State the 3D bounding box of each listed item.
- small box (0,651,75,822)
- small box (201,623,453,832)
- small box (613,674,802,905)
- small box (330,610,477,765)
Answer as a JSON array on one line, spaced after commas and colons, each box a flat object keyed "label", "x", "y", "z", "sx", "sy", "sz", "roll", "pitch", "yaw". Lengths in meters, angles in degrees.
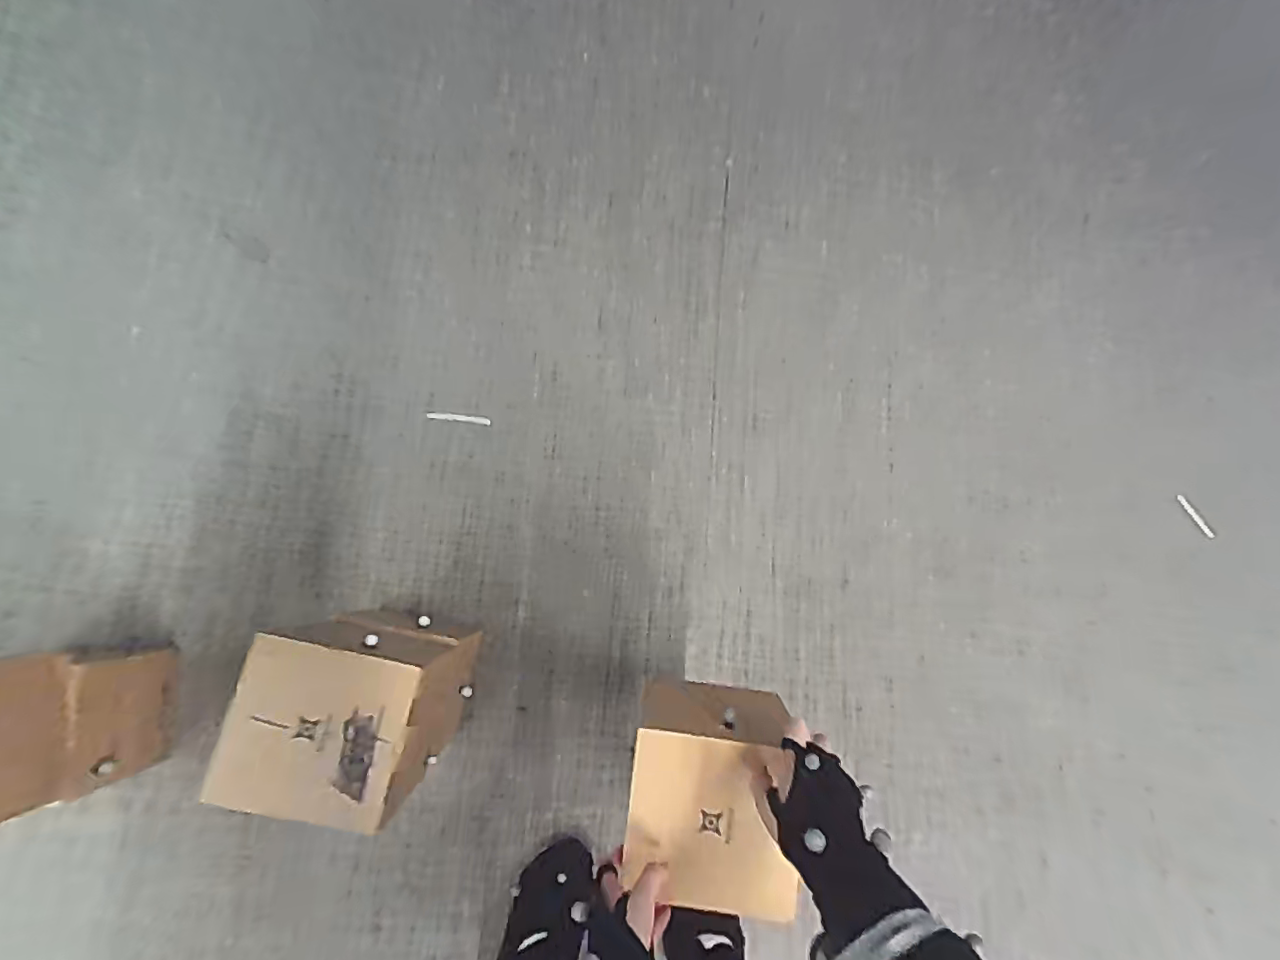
[{"label": "small box", "x": -0.771, "y": 0.291, "z": 0.579, "sx": 0.168, "sy": 0.176, "sz": 0.179, "roll": -5, "pitch": 80, "yaw": -7}, {"label": "small box", "x": -0.336, "y": 0.267, "z": 0.625, "sx": 0.179, "sy": 0.176, "sz": 0.168, "roll": 13, "pitch": 79, "yaw": -2}, {"label": "small box", "x": 0.071, "y": 0.336, "z": 0.624, "sx": 0.179, "sy": 0.176, "sz": 0.168, "roll": 6, "pitch": 88, "yaw": 2}, {"label": "small box", "x": -0.351, "y": 0.289, "z": 0.789, "sx": 0.179, "sy": 0.176, "sz": 0.168, "roll": 12, "pitch": 78, "yaw": -4}]
